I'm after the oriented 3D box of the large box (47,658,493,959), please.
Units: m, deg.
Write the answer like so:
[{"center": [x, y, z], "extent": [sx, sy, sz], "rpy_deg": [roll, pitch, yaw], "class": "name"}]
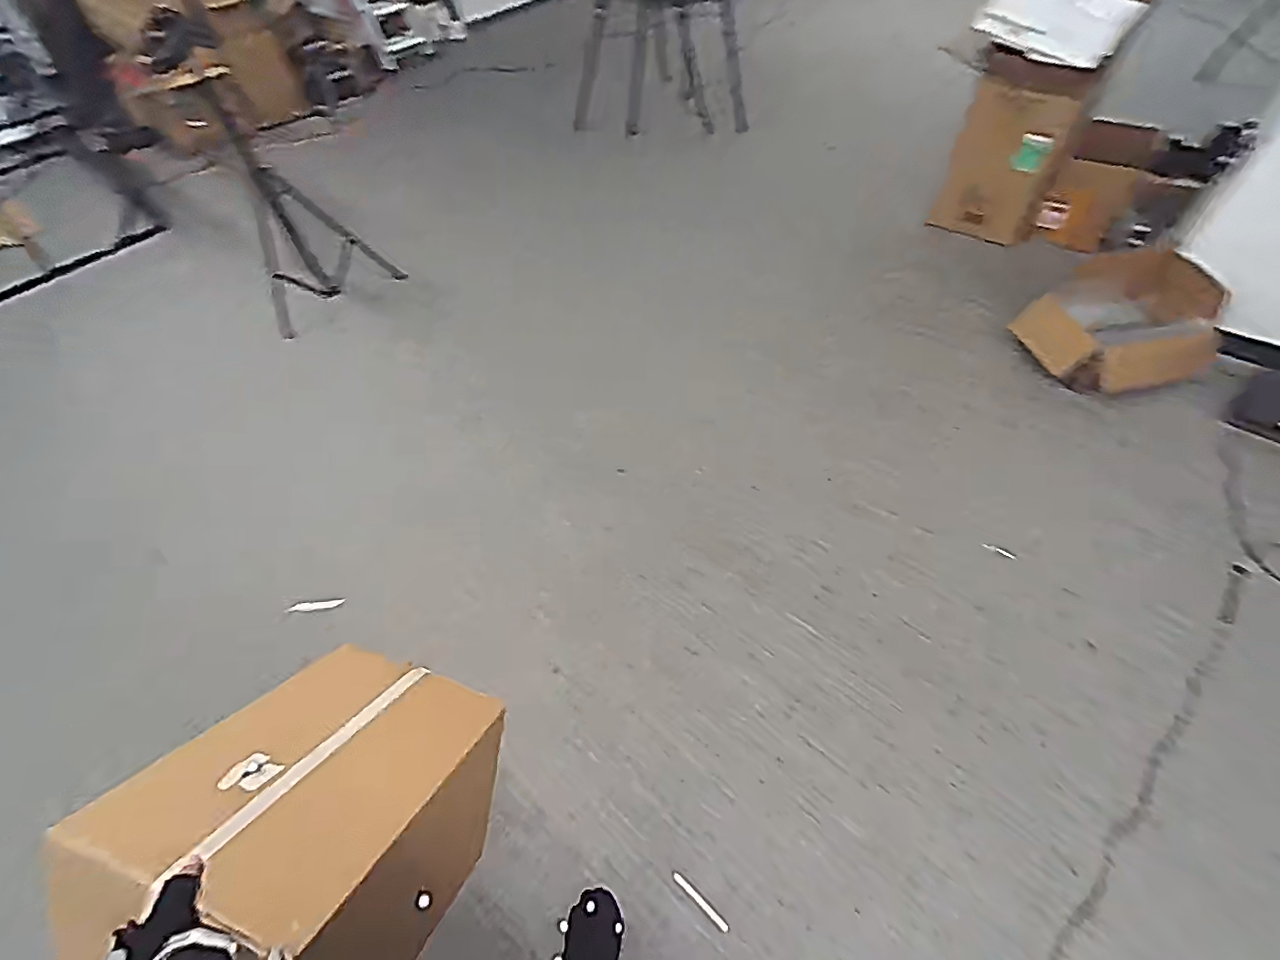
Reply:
[{"center": [-0.453, 0.524, 0.752], "extent": [0.320, 0.320, 0.408], "rpy_deg": [14, 15, 12], "class": "large box"}]
